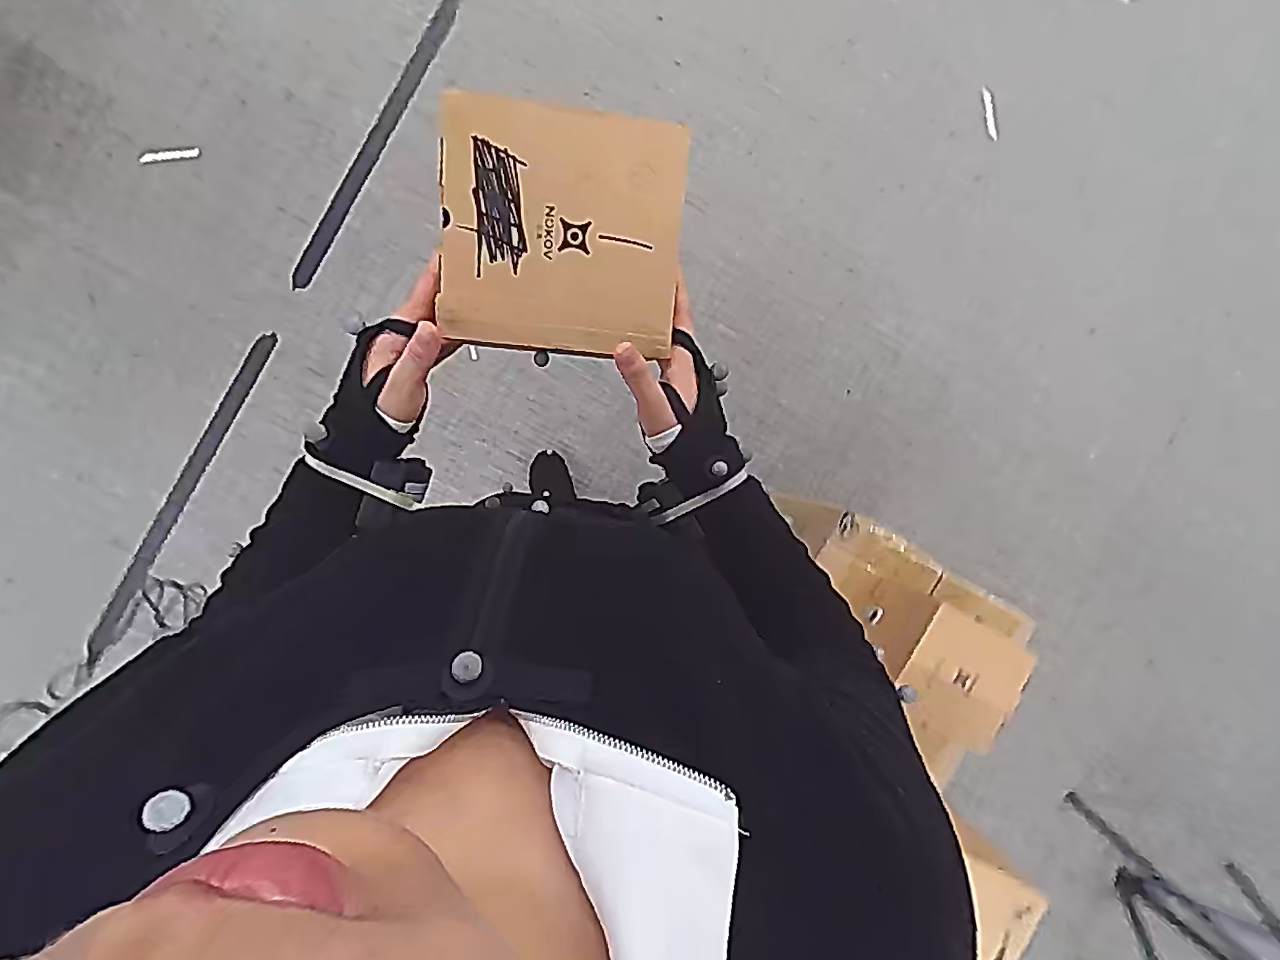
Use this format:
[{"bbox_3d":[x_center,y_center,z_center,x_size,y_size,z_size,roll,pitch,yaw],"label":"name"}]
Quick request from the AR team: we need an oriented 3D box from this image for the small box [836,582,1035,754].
[{"bbox_3d":[0.447,0.279,0.846,0.179,0.176,0.168,29,89,-4],"label":"small box"}]

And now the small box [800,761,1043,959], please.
[{"bbox_3d":[0.333,0.490,0.678,0.179,0.176,0.168,31,88,-4],"label":"small box"}]

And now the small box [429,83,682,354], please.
[{"bbox_3d":[-0.071,-0.201,0.470,0.179,0.176,0.168,3,101,-9],"label":"small box"}]
